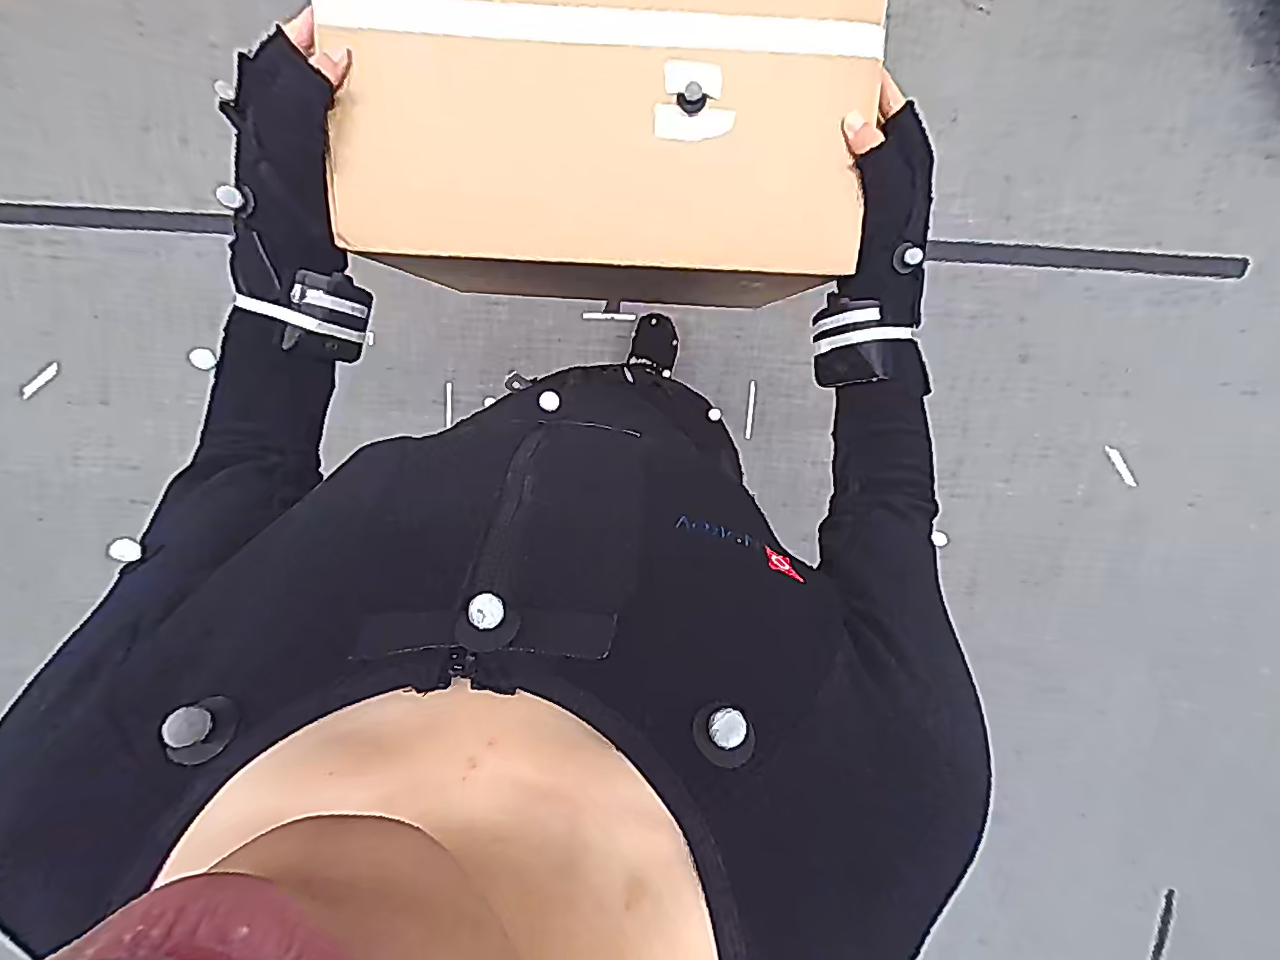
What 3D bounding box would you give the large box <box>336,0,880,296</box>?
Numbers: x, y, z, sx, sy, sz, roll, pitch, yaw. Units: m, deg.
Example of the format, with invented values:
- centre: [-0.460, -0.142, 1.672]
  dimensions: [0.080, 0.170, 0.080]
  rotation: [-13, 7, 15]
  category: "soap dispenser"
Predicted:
- centre: [-0.027, -0.367, 0.541]
  dimensions: [0.408, 0.320, 0.320]
  rotation: [2, 103, -2]
  category: "large box"
